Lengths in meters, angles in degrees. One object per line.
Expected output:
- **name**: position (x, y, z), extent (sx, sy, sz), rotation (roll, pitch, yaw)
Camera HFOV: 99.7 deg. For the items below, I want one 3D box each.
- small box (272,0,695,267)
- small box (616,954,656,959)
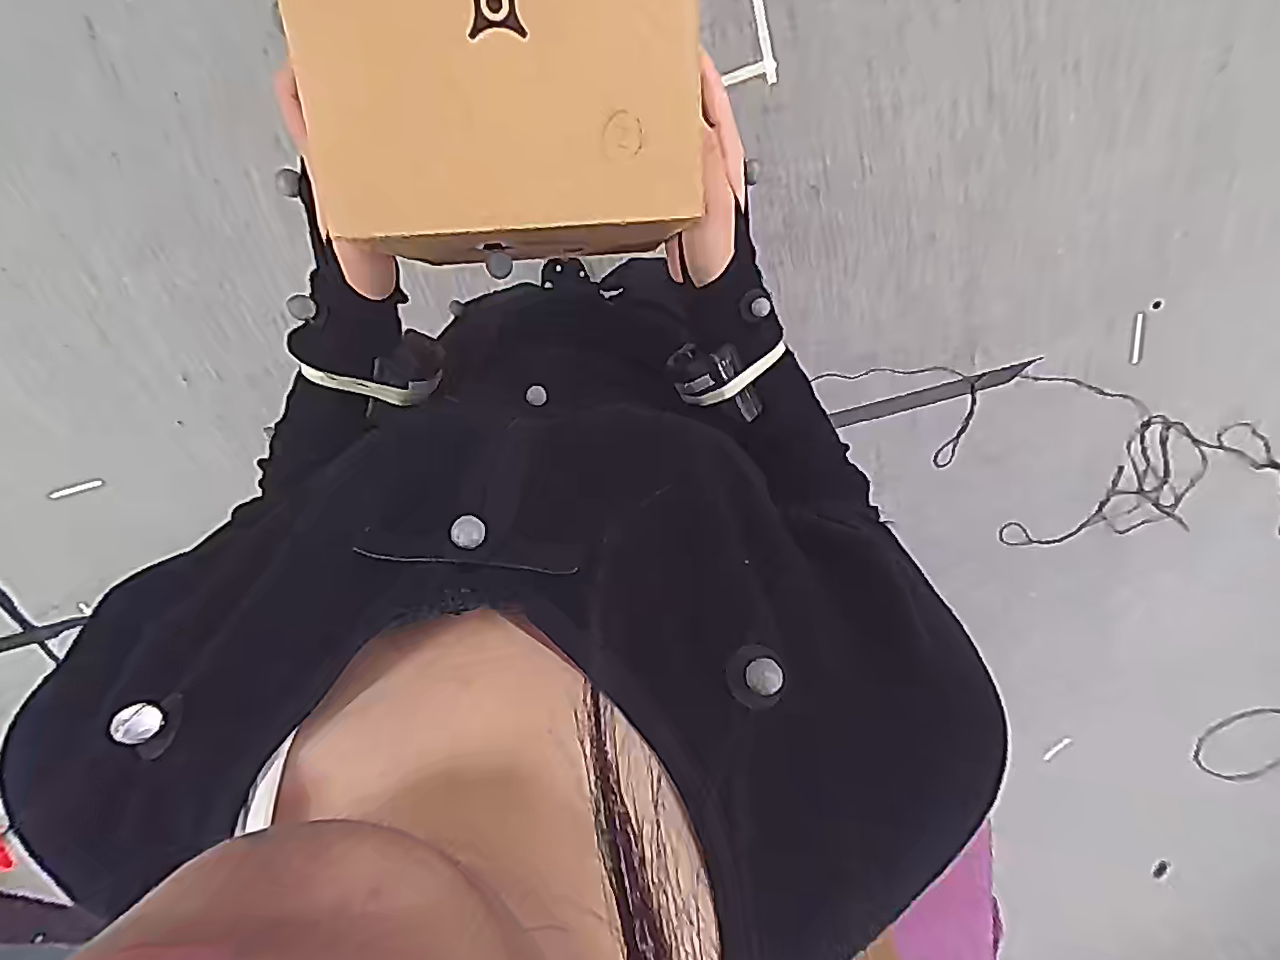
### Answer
- **small box**: position (-0.066, -0.213, 0.289), extent (0.168, 0.176, 0.179), rotation (-6, 107, -4)
- **small box**: position (-0.025, 1.196, 1.189), extent (0.168, 0.176, 0.179), rotation (-11, 114, 0)
